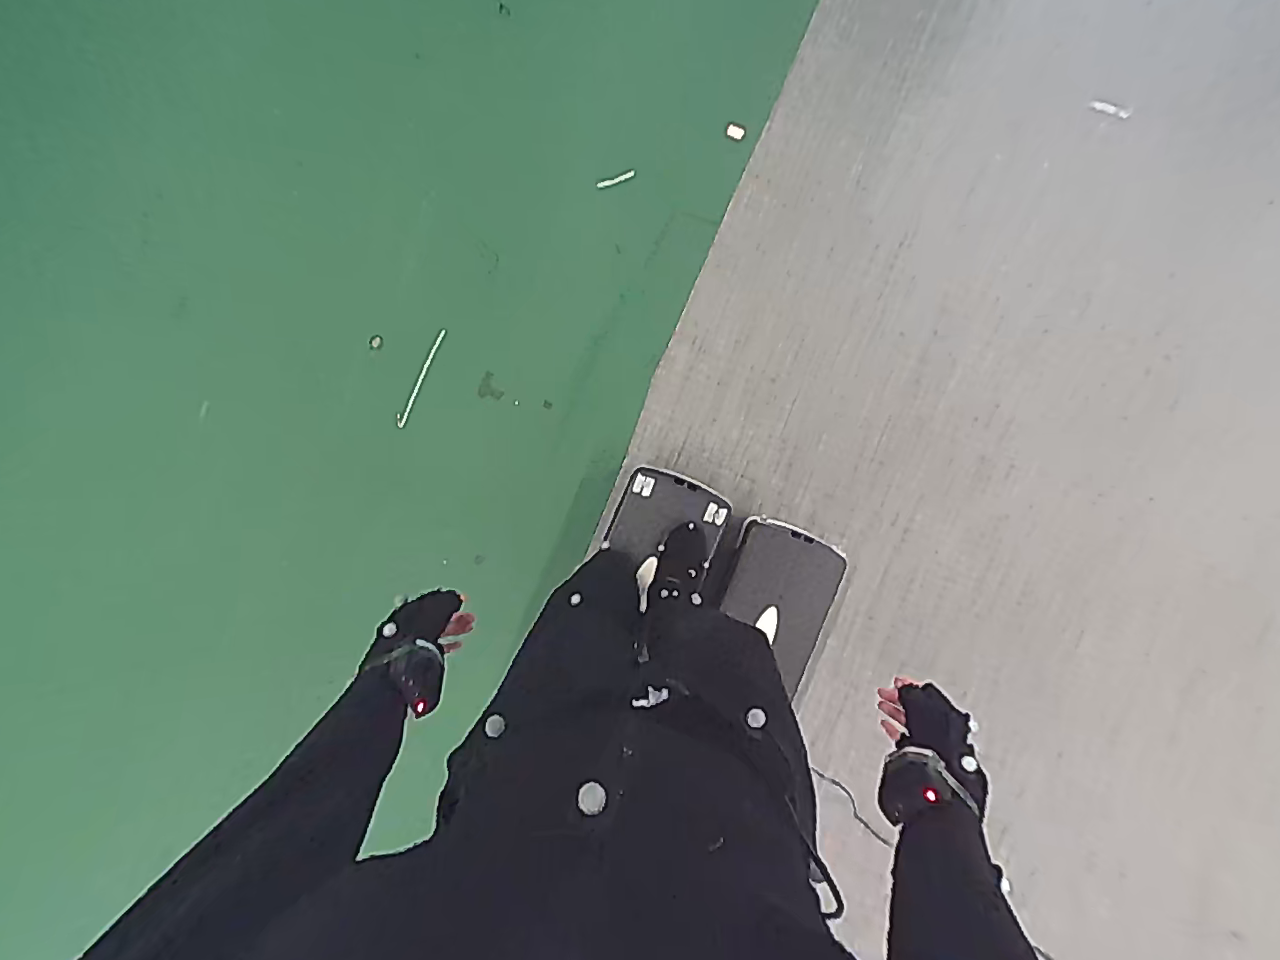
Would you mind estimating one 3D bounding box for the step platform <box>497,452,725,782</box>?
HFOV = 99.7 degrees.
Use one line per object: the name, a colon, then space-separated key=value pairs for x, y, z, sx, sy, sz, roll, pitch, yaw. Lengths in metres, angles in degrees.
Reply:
step platform: x=-0.057 y=0.288 z=1.232 sx=0.286 sy=0.204 sz=0.684 roll=23 pitch=90 yaw=3
